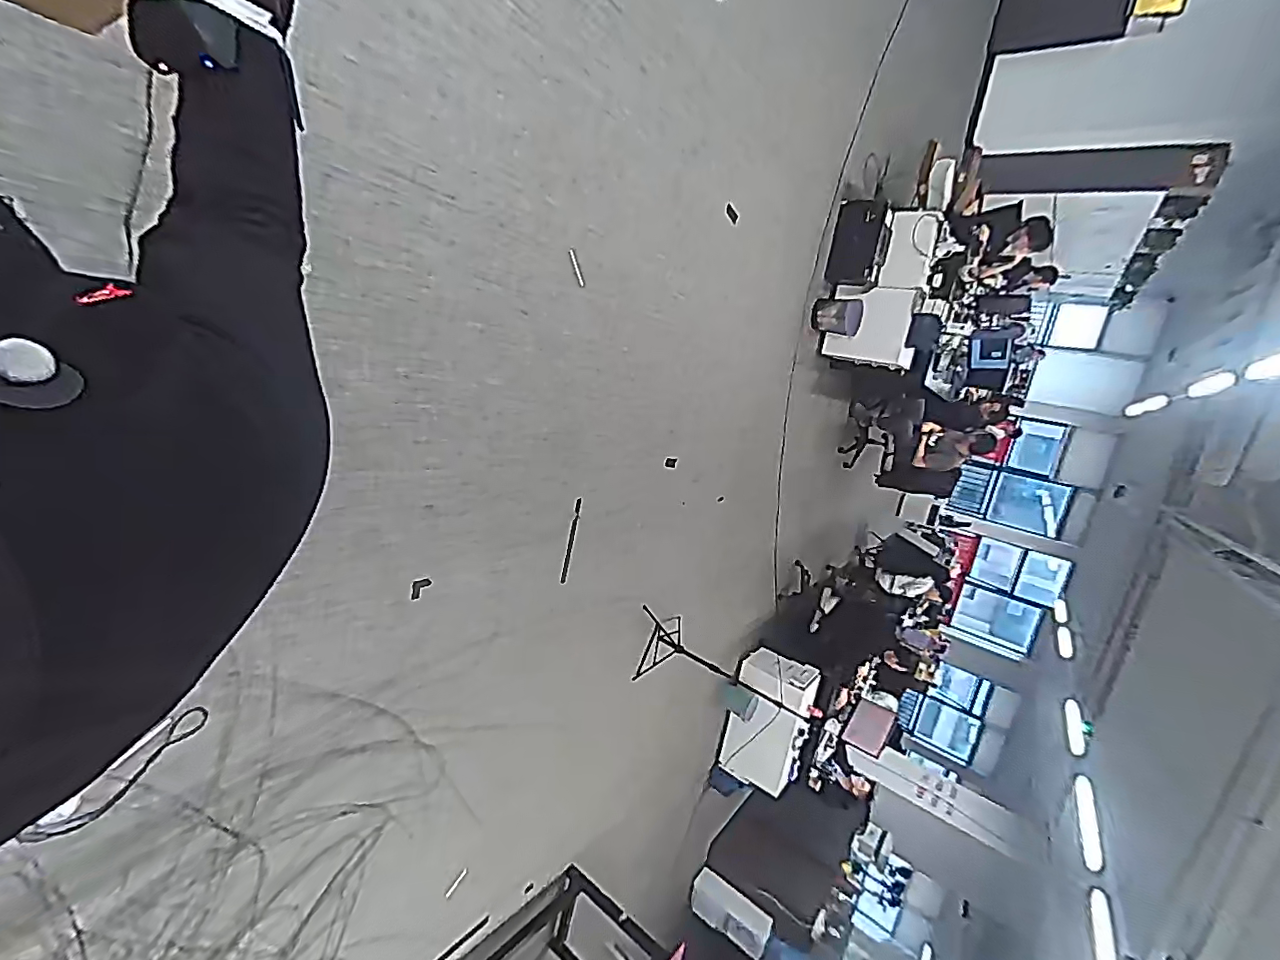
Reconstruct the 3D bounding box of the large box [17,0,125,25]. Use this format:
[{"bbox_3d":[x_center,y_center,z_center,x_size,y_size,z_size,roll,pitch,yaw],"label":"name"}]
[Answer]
[{"bbox_3d":[-0.513,-0.523,0.256,0.408,0.320,0.320,-7,115,-54],"label":"large box"}]
